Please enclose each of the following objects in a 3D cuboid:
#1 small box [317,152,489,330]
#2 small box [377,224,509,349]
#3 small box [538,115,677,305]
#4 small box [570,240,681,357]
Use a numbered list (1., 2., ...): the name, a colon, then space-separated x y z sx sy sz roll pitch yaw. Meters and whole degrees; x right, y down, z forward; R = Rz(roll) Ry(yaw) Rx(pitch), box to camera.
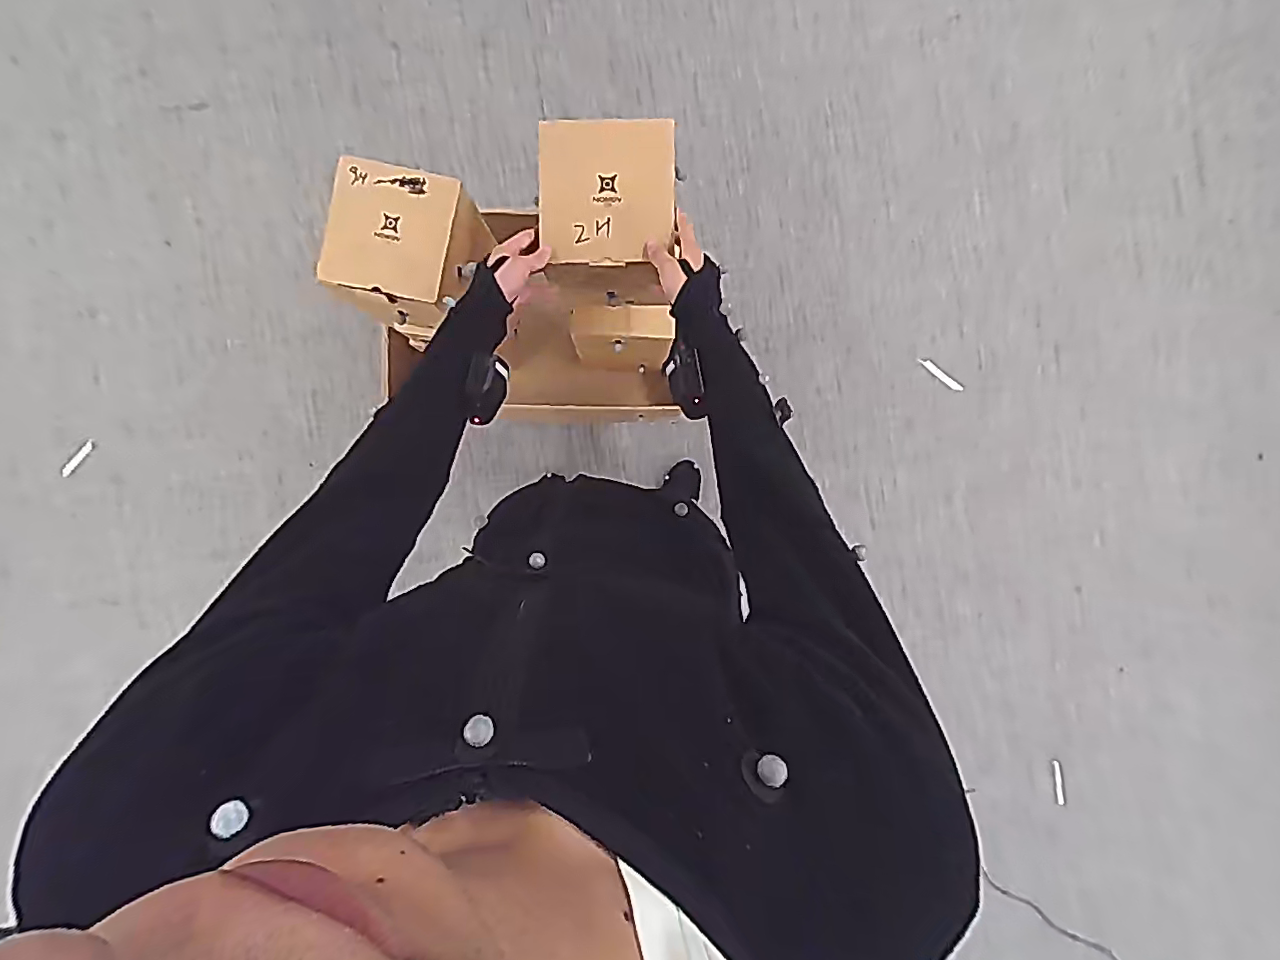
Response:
1. small box: -0.336 -0.337 0.801 0.168 0.176 0.179 12 91 -2
2. small box: -0.341 -0.345 0.966 0.168 0.176 0.179 8 90 -1
3. small box: -0.038 -0.350 0.726 0.168 0.176 0.179 1 91 2
4. small box: -0.025 -0.322 0.974 0.179 0.176 0.168 3 90 0
